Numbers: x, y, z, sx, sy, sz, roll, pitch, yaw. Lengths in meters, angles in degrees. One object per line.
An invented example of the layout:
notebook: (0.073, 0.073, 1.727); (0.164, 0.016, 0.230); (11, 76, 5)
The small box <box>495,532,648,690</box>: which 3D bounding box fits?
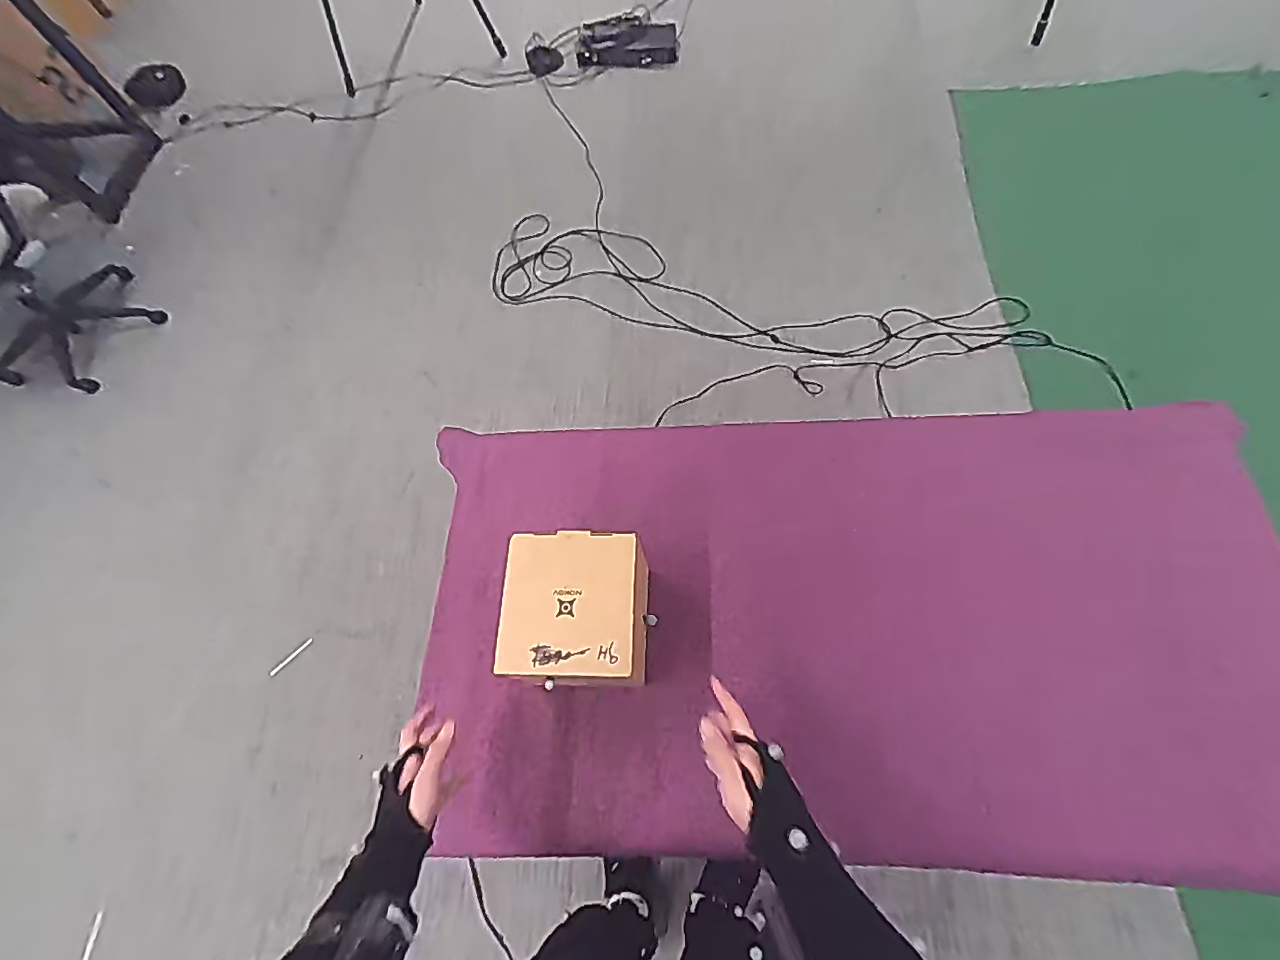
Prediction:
small box: (-0.079, 0.181, 0.735); (0.168, 0.176, 0.179); (0, 65, 6)
